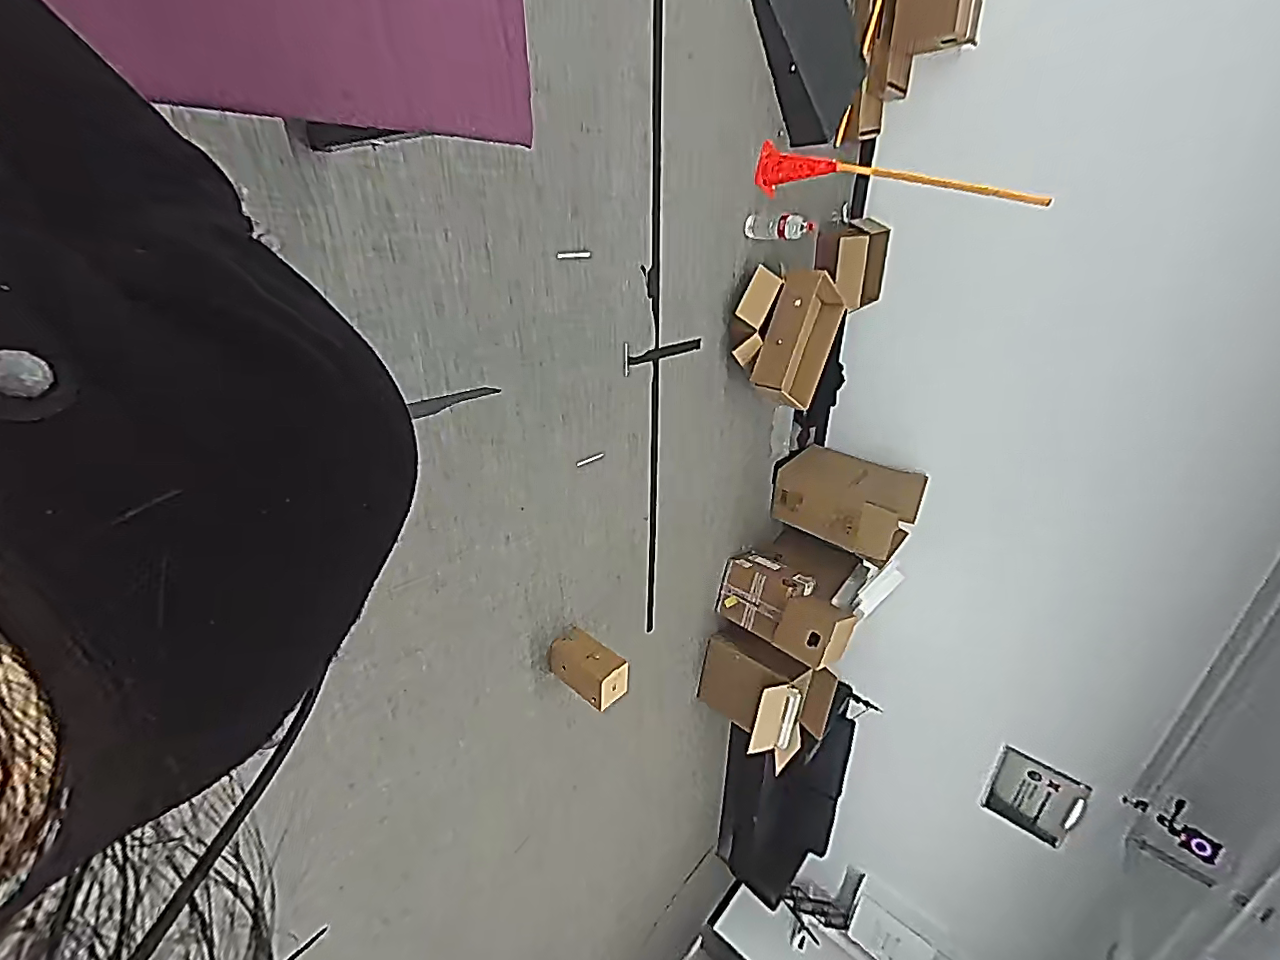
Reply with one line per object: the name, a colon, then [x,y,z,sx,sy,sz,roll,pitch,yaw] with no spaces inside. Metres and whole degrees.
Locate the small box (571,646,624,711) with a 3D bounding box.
small box: [-0.192,0.873,2.390,0.168,0.176,0.179,-23,124,-46]
